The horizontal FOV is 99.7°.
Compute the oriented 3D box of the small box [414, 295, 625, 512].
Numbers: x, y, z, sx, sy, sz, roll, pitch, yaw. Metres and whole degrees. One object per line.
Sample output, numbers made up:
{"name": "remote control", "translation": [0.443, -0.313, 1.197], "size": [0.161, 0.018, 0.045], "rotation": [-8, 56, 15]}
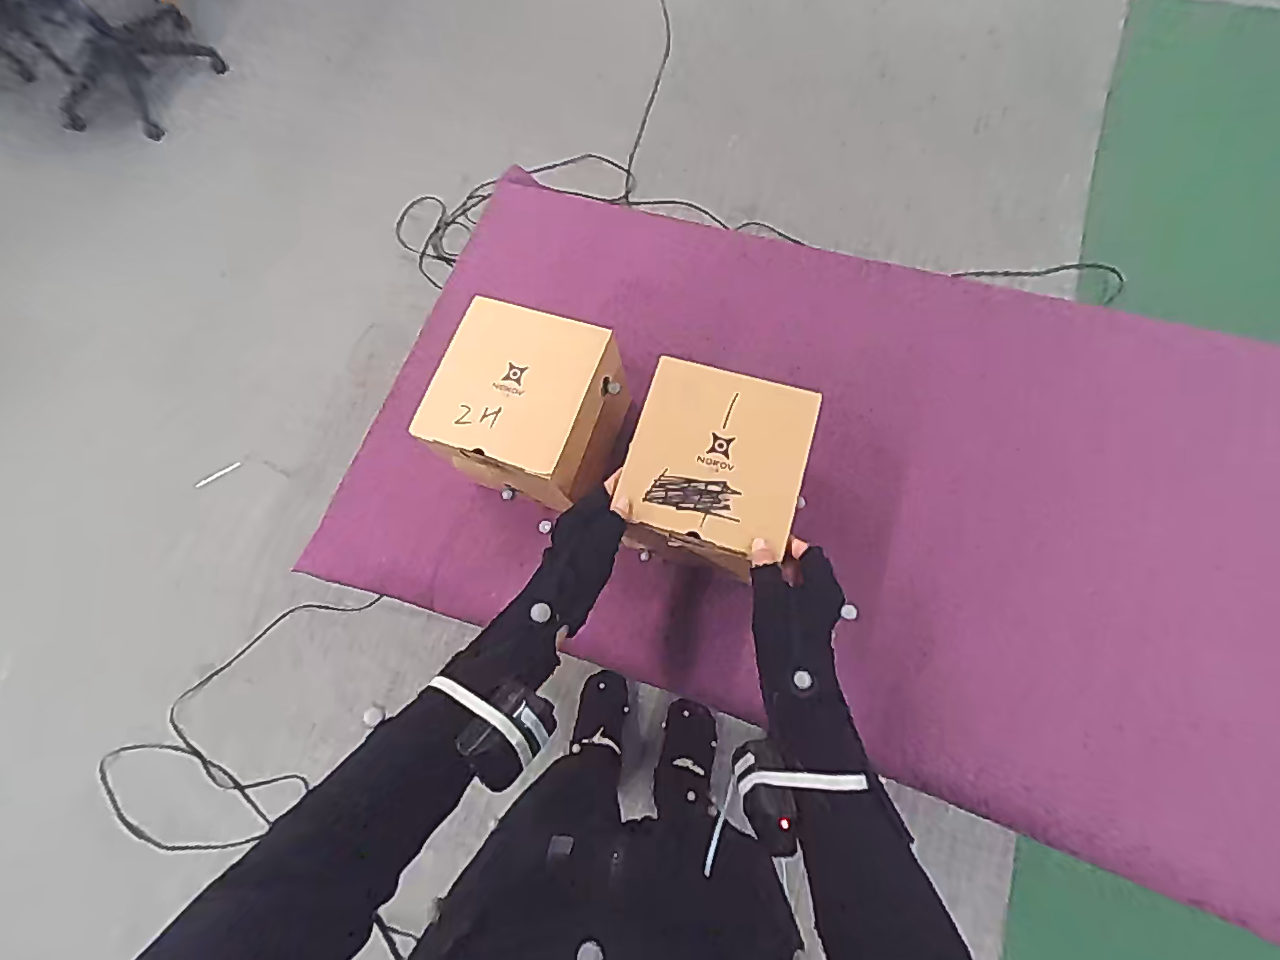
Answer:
{"name": "small box", "translation": [-0.124, -0.081, 0.641], "size": [0.168, 0.176, 0.179], "rotation": [17, 76, 12]}

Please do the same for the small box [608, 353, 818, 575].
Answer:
{"name": "small box", "translation": [0.078, -0.006, 0.592], "size": [0.168, 0.176, 0.179], "rotation": [16, 74, 9]}
